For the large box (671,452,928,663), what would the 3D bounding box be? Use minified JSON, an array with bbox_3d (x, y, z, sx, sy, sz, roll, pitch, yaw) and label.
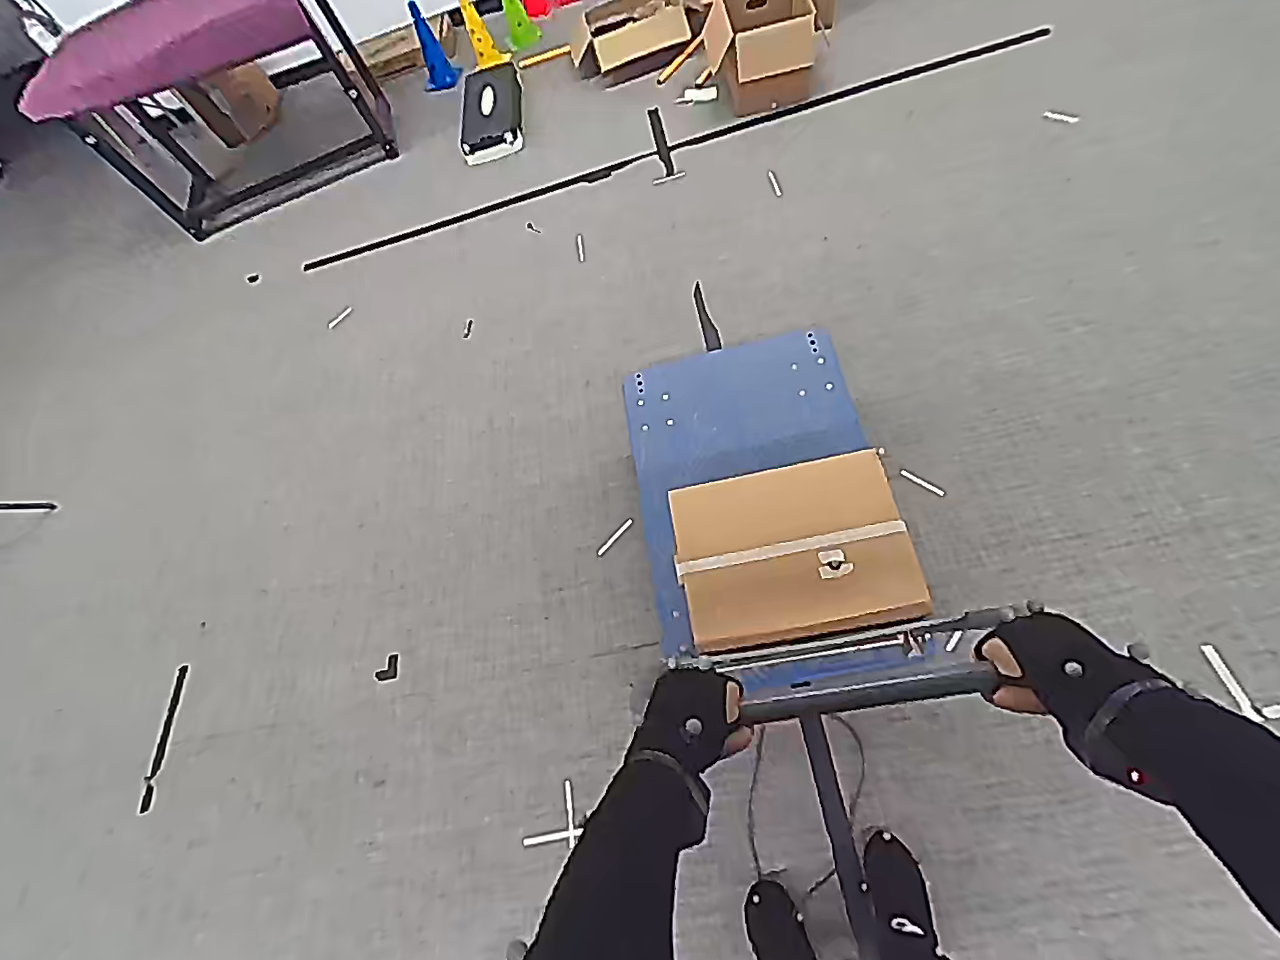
[{"bbox_3d":[0.302,0.182,1.132,0.408,0.320,0.320,-12,68,6],"label":"large box"}]
